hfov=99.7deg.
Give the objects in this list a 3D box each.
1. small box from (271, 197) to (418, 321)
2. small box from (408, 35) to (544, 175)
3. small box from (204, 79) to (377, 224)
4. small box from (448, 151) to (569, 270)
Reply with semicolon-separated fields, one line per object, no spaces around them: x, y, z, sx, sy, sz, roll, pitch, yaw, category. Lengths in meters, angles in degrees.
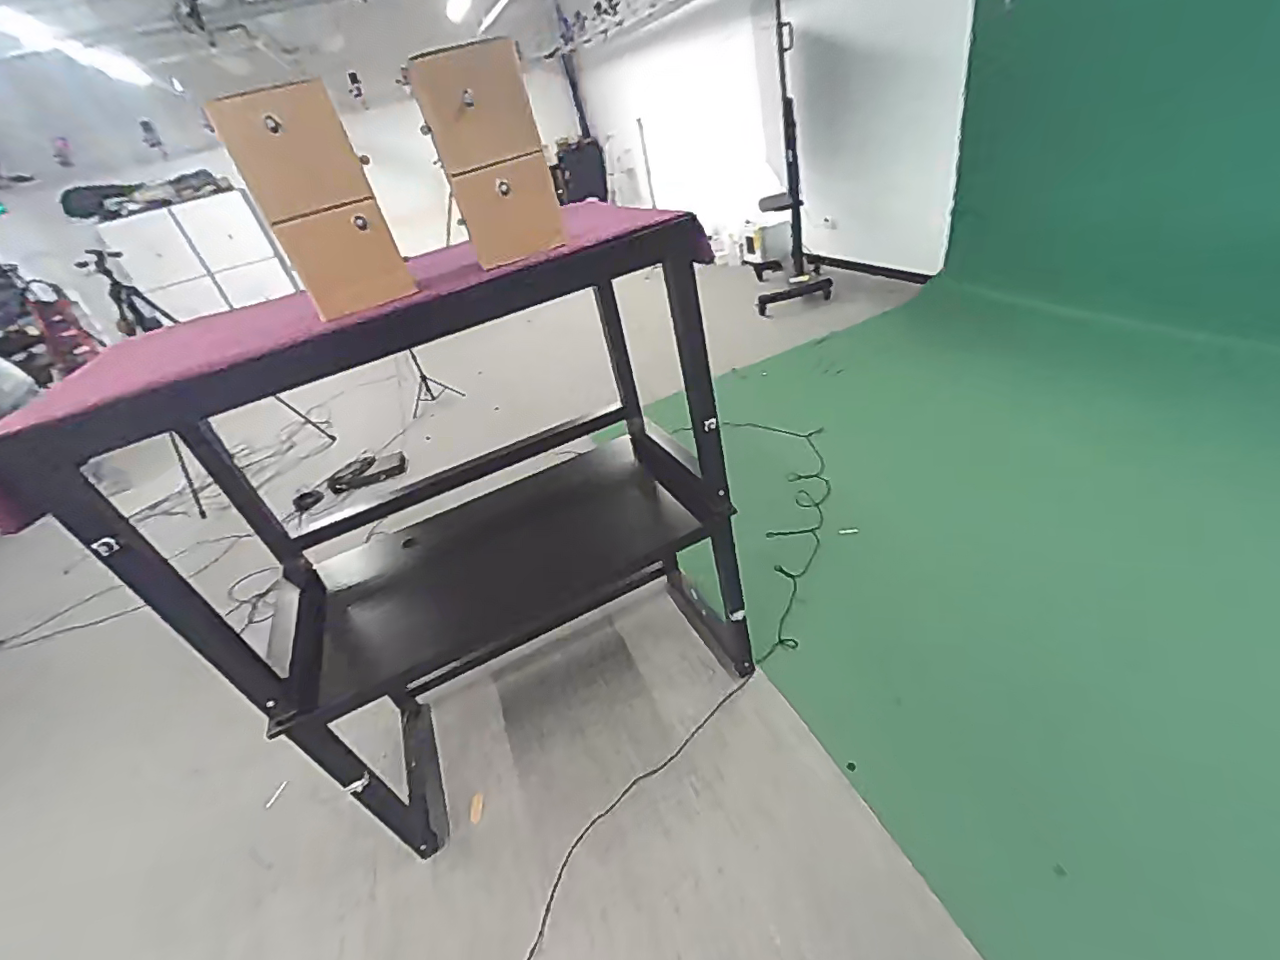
-0.535;-0.409;1.000;0.179;0.176;0.168;-24;34;-14;small box
-0.294;-0.660;0.973;0.179;0.176;0.168;-23;35;-10;small box
-0.571;-0.543;0.911;0.179;0.176;0.168;-23;34;-13;small box
-0.258;-0.528;1.063;0.179;0.176;0.168;-22;34;-10;small box
